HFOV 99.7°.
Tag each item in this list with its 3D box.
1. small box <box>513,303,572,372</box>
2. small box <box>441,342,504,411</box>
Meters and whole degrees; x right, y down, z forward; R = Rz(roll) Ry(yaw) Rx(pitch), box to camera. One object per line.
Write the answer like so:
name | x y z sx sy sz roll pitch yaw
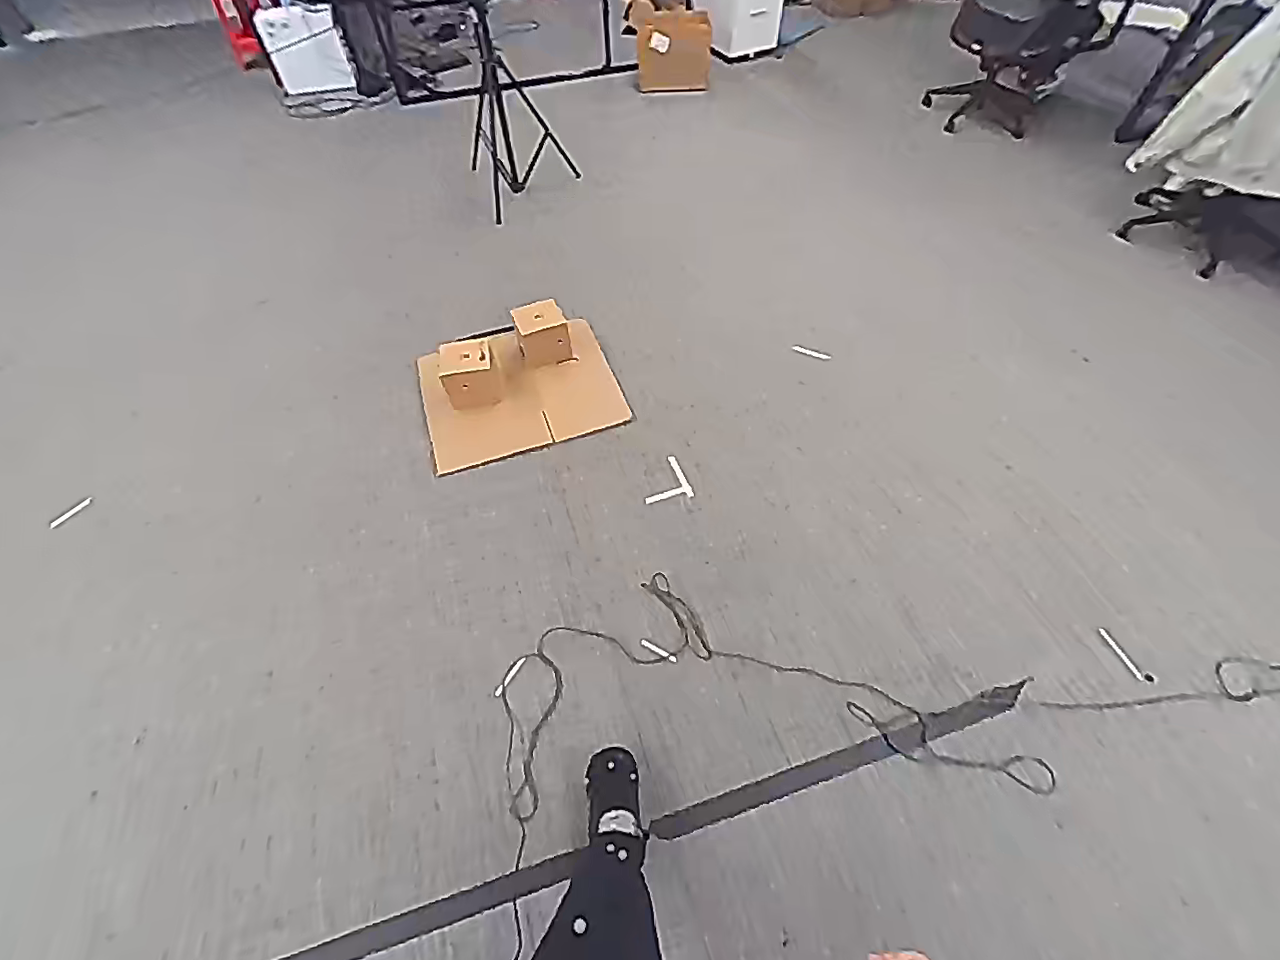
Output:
small box | -0.367 -0.542 2.072 0.179 0.176 0.168 -21 56 -13
small box | -0.601 -0.369 1.951 0.179 0.176 0.168 -10 55 -4
